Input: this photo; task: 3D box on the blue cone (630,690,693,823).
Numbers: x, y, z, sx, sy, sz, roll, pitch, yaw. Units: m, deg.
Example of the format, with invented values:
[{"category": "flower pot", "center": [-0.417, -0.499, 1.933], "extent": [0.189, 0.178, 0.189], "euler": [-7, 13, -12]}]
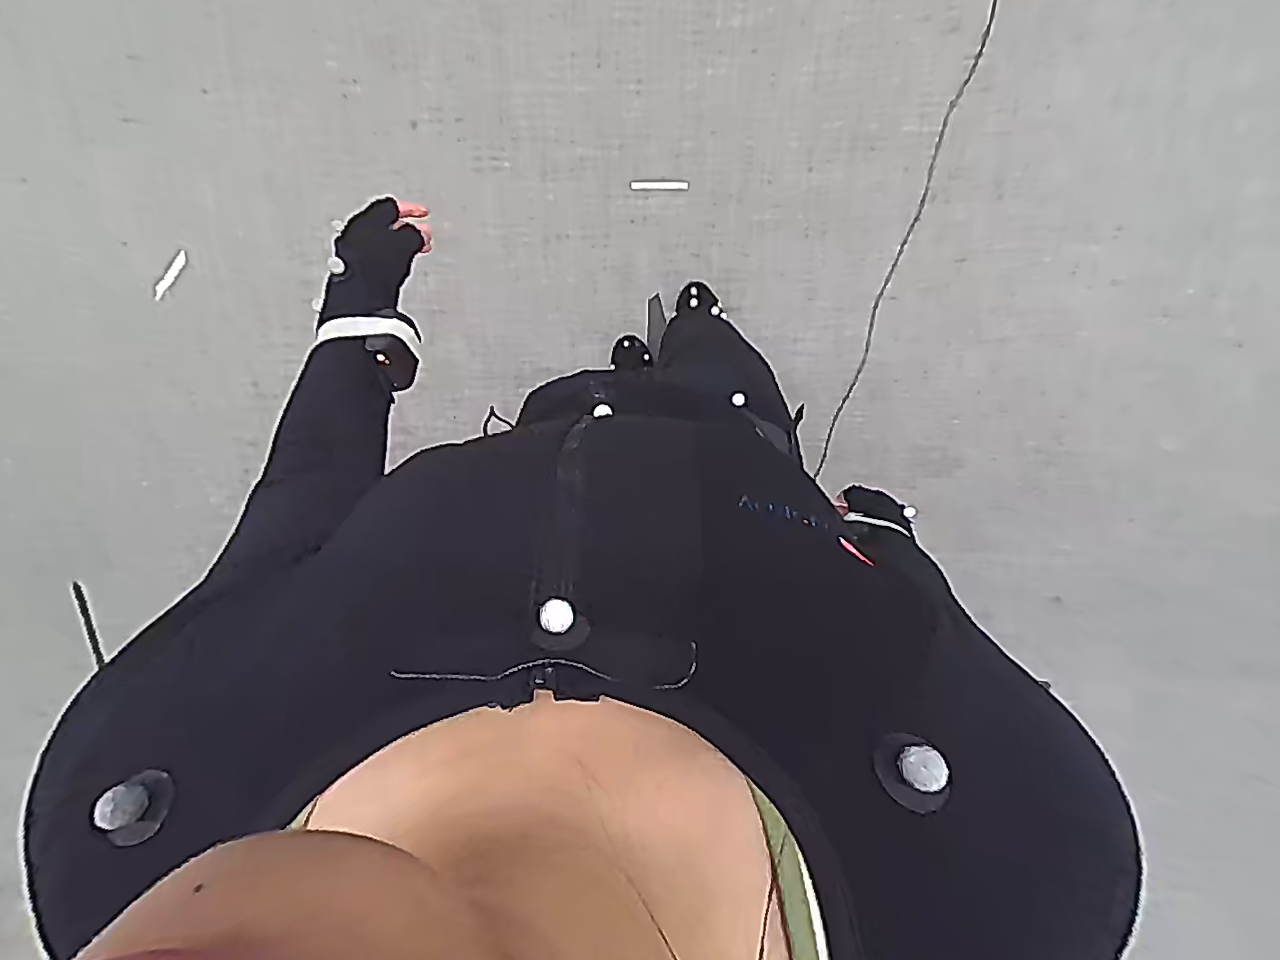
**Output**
[{"category": "blue cone", "center": [0.056, 0.774, 1.505], "extent": [0.193, 0.380, 0.192], "euler": [4, 105, 3]}]
